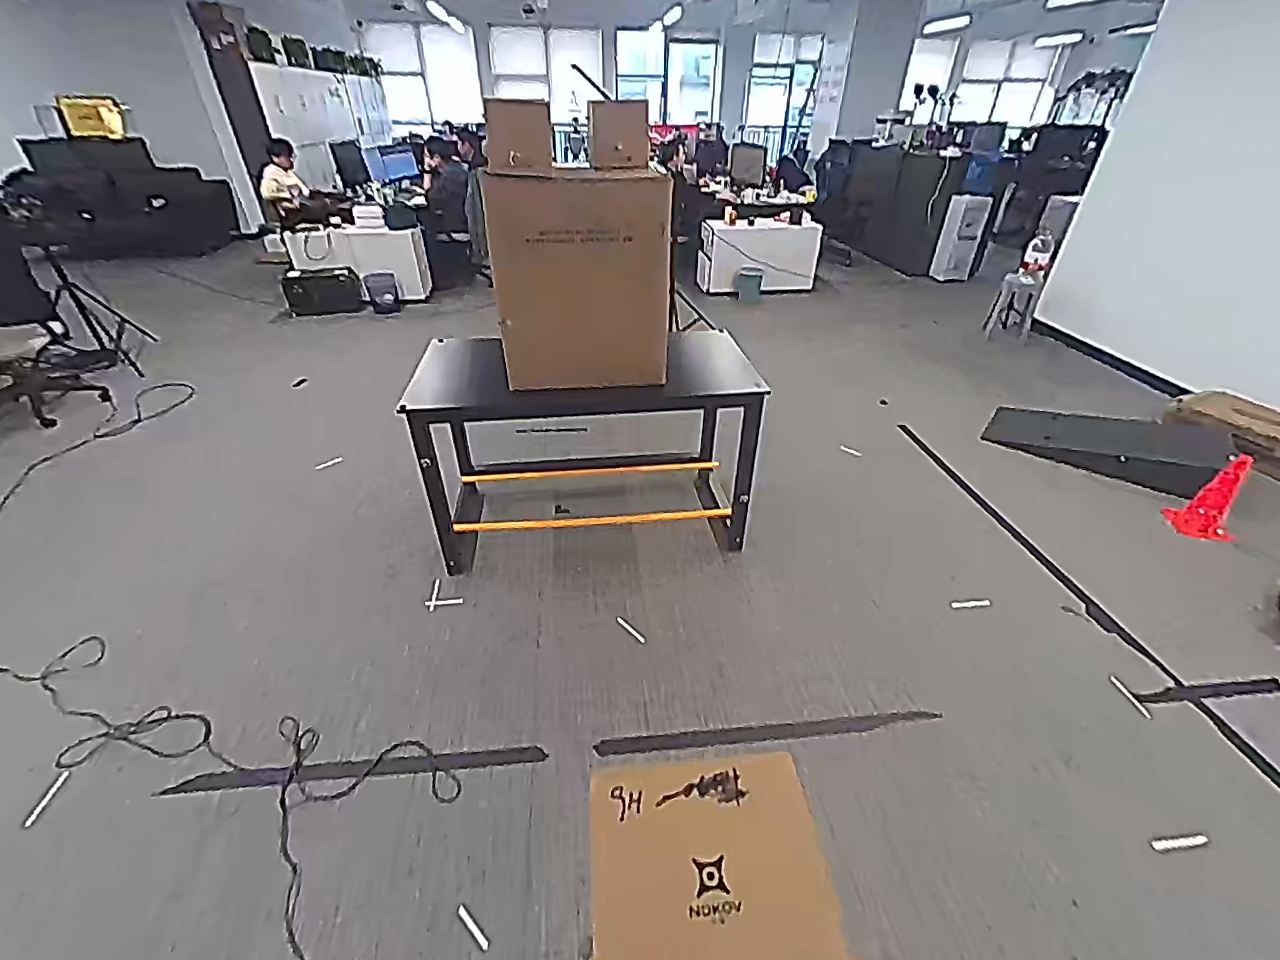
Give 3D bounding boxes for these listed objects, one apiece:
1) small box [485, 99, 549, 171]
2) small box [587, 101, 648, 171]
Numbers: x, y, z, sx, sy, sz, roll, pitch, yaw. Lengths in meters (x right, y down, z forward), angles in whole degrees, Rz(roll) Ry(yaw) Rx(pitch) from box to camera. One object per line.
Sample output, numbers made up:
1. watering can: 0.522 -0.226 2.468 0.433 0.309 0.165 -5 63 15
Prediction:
1. small box: -0.364 -1.032 1.620 0.168 0.176 0.179 -4 33 -8
2. small box: -0.070 -1.032 1.625 0.168 0.176 0.179 -6 34 -7
